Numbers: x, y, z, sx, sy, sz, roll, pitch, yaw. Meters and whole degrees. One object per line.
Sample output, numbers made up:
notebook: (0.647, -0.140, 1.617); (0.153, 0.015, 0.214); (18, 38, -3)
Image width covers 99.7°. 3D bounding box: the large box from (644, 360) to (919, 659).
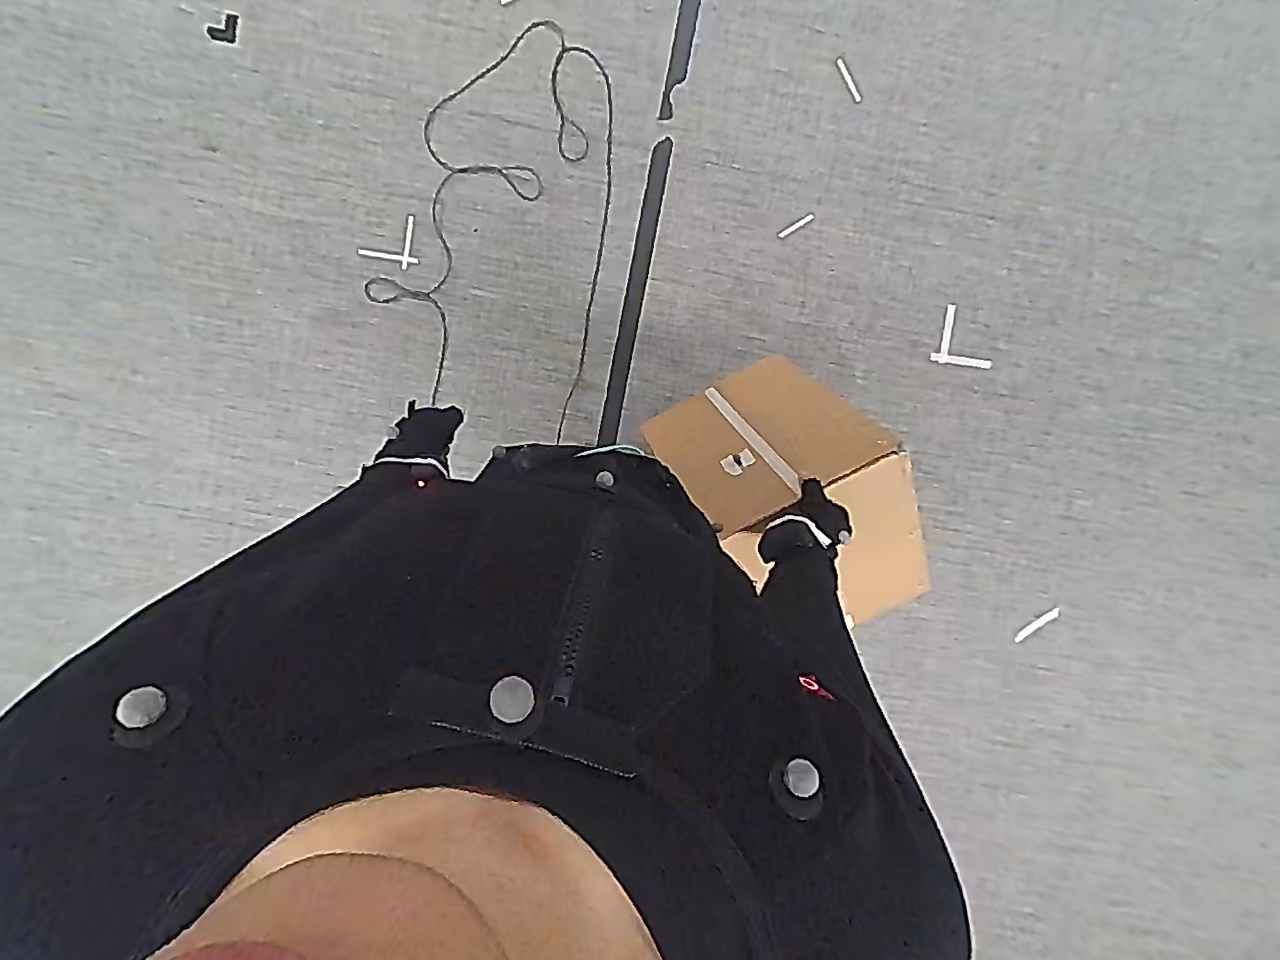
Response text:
large box: (0.245, 0.037, 1.004); (0.320, 0.408, 0.320); (-27, 125, 3)
